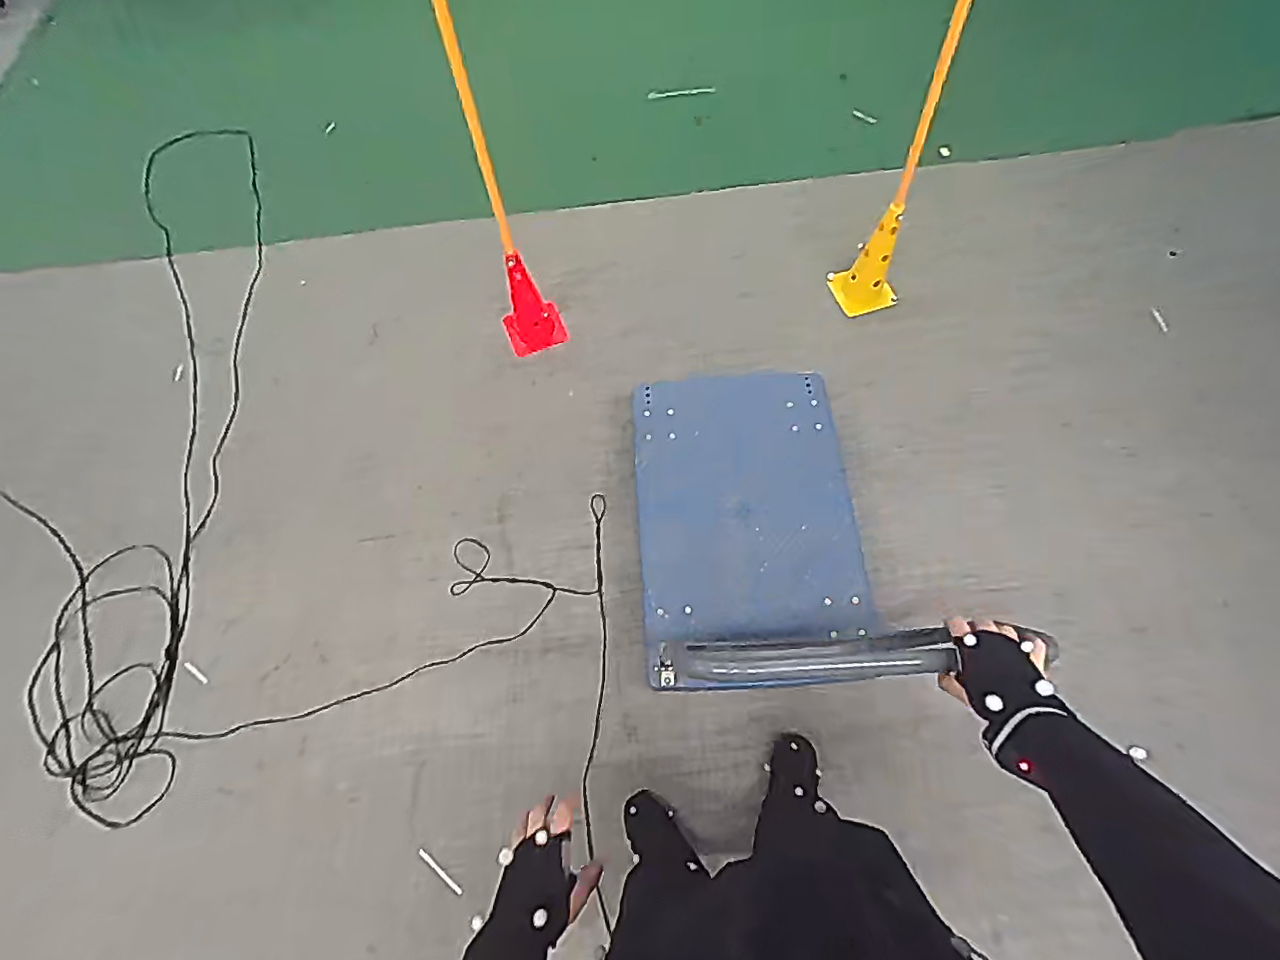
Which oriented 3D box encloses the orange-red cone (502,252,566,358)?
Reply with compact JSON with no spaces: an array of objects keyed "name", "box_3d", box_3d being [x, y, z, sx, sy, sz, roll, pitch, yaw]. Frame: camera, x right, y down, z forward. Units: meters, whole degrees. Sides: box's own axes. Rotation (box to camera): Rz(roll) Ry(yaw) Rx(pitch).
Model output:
[{"name":"orange-red cone","box_3d":[-0.390,-0.604,1.792,0.199,0.360,0.198,-21,66,-5]}]
